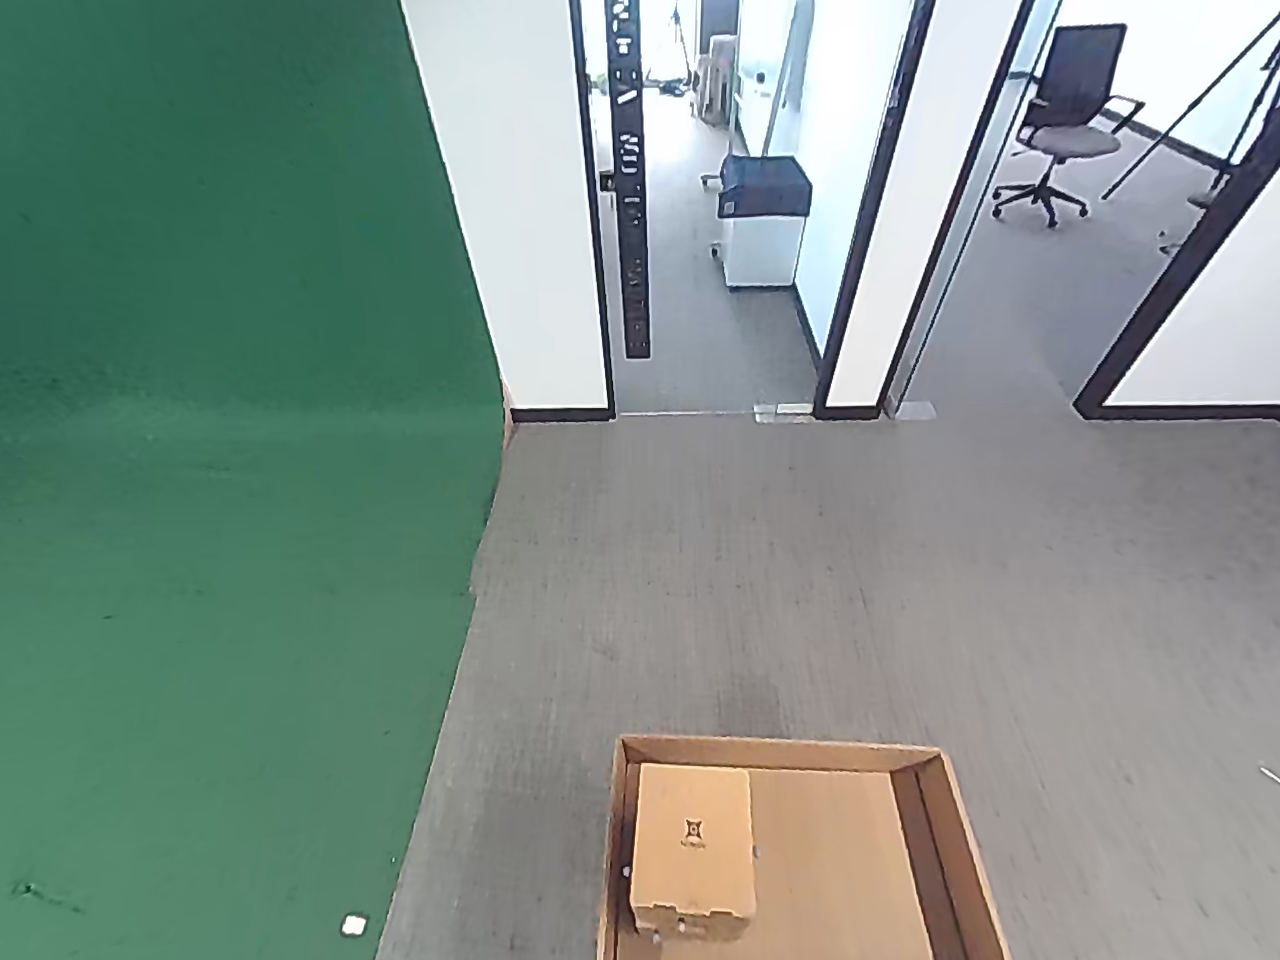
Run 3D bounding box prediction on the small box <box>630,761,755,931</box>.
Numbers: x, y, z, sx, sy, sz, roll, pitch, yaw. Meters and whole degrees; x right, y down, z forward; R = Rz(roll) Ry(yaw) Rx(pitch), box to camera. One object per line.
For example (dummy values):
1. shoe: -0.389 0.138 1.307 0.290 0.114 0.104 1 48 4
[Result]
1. small box: 0.077 0.551 0.815 0.168 0.176 0.179 2 46 5
